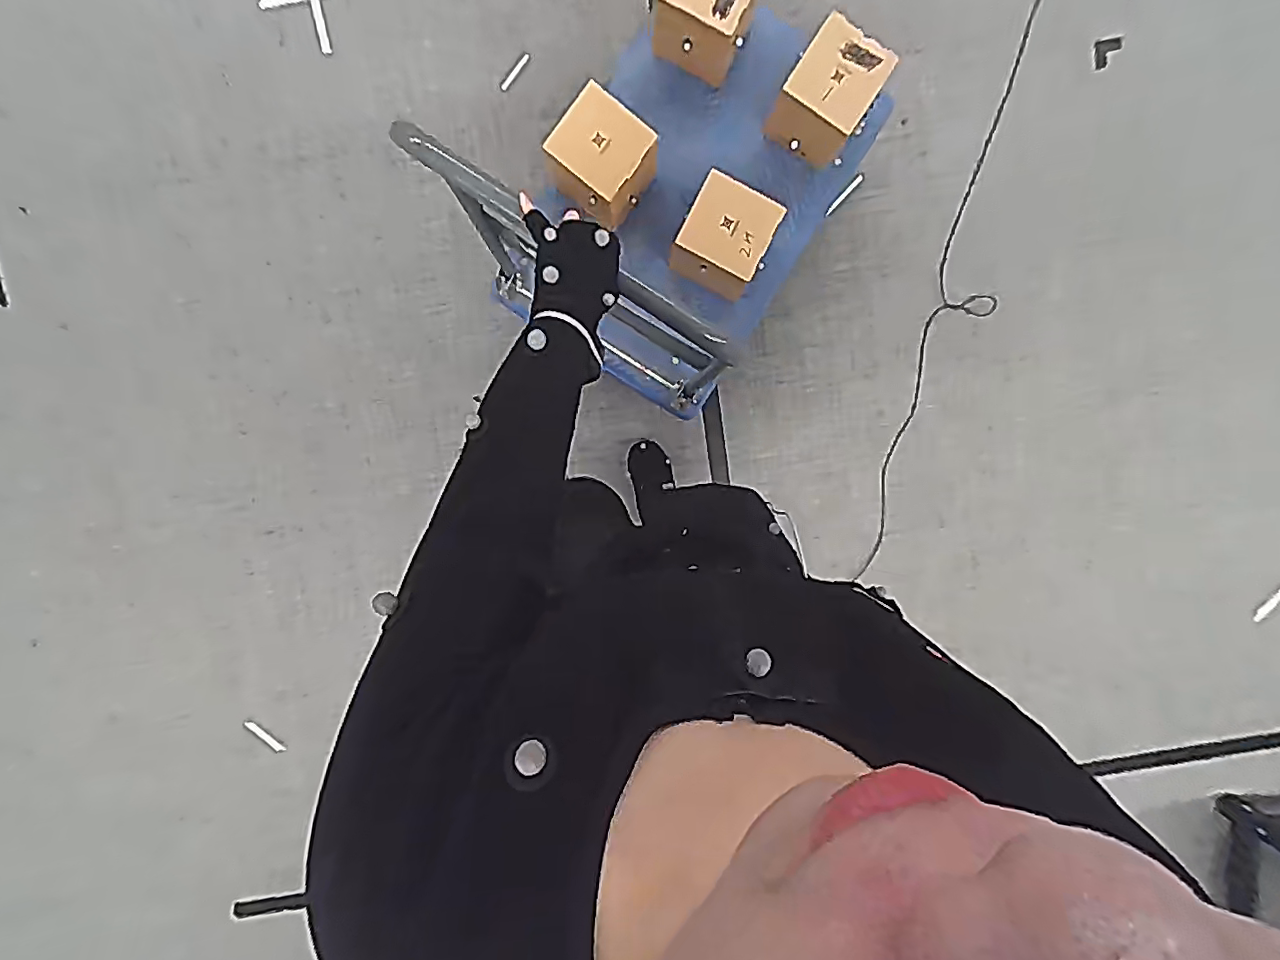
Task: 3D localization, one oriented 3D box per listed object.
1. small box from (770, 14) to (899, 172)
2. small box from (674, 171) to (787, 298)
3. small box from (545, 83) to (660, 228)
[{"bbox_3d":[0.398,-0.804,1.145,0.168,0.176,0.179,34,96,-3],"label":"small box"},{"bbox_3d":[0.184,-0.518,1.172,0.179,0.176,0.168,28,95,-2],"label":"small box"},{"bbox_3d":[-0.078,-0.679,1.159,0.179,0.176,0.168,38,94,-4],"label":"small box"}]
